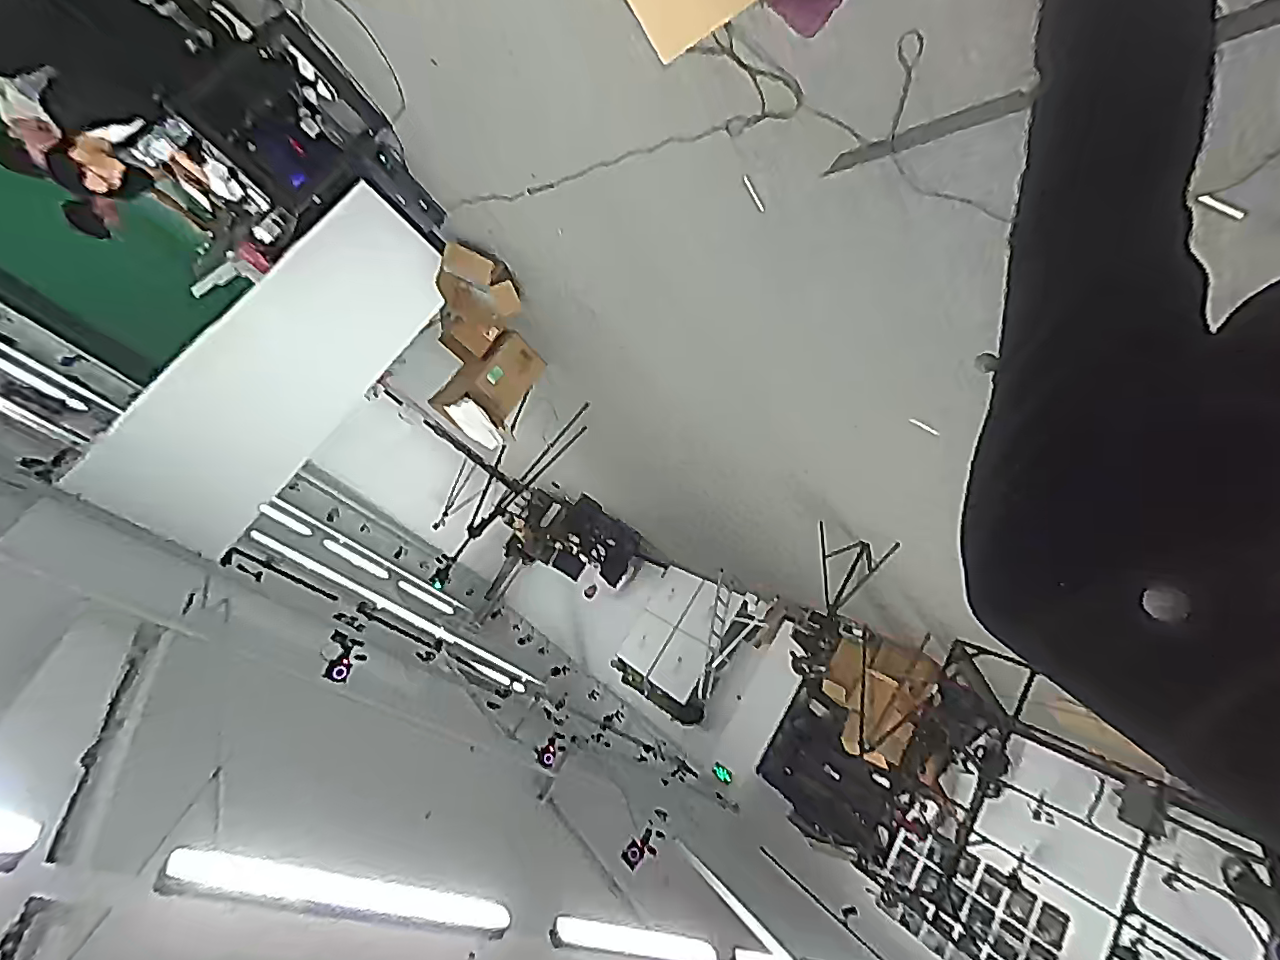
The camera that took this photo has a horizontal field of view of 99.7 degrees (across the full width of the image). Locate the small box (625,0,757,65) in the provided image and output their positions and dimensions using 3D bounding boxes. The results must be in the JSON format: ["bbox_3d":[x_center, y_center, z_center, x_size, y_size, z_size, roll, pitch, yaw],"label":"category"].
[{"bbox_3d":[0.077,-0.636,0.612,0.179,0.176,0.168,13,155,52],"label":"small box"}]
